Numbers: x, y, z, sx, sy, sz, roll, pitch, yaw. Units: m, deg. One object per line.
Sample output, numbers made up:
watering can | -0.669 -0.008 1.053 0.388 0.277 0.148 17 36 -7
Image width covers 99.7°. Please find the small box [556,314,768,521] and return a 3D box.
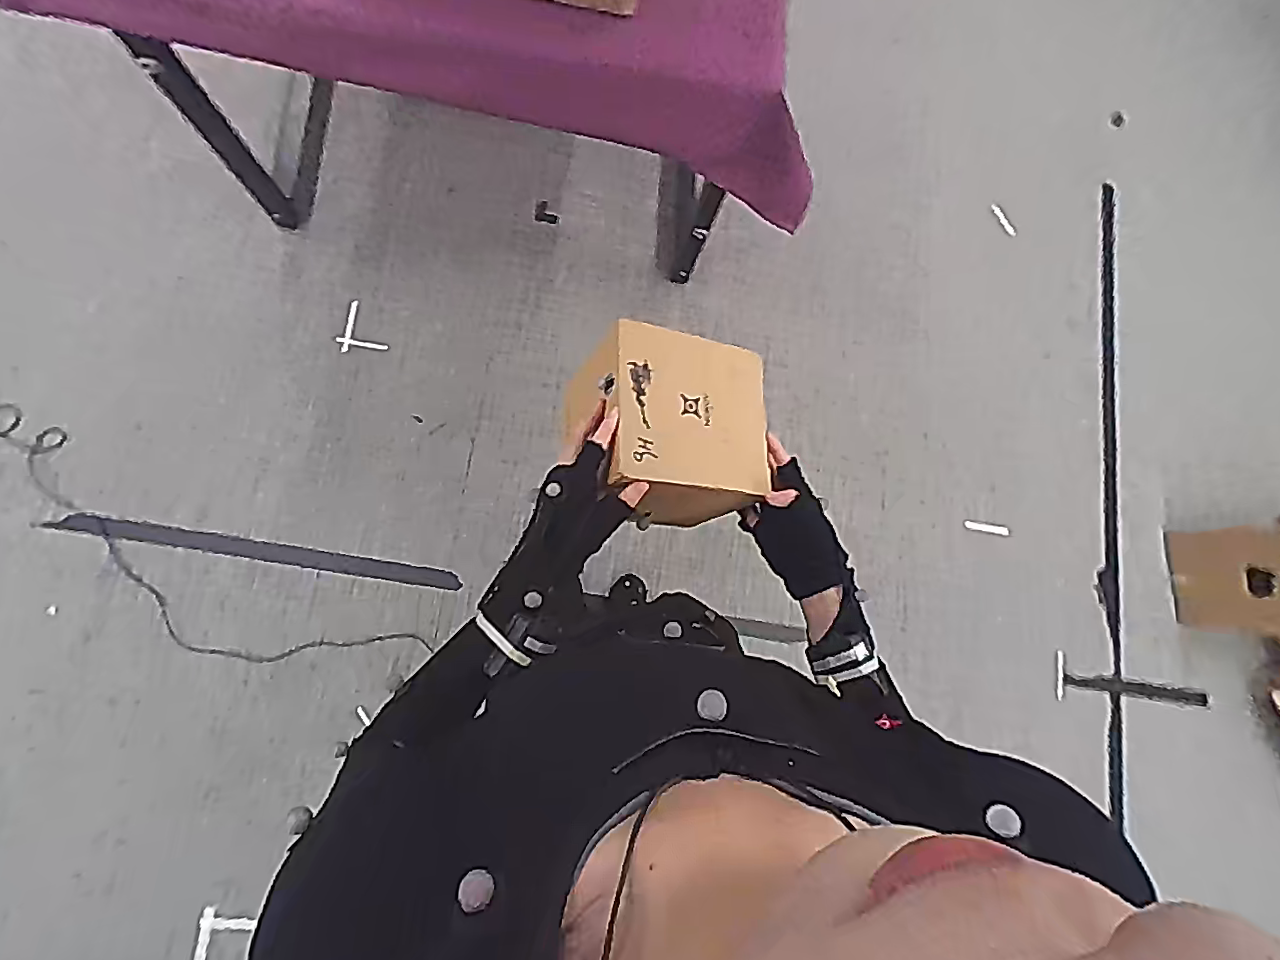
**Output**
small box | 0.017 -0.053 0.606 0.179 0.176 0.168 7 70 -26
